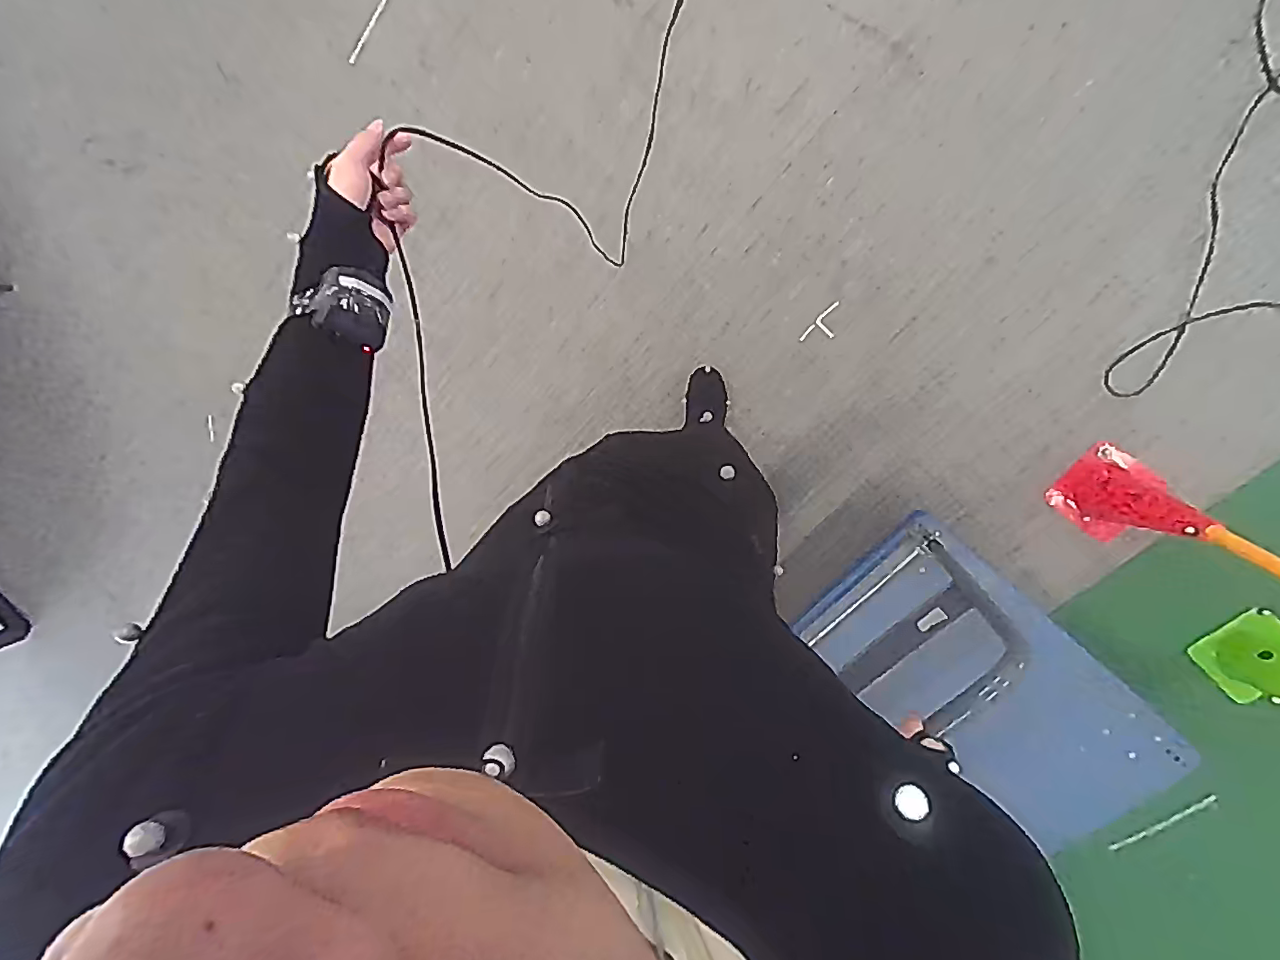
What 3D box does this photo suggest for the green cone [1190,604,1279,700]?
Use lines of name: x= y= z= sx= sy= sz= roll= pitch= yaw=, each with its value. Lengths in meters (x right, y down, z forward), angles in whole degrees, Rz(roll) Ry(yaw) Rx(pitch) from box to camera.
green cone: x=1.483 y=0.462 z=1.178 sx=0.202 sy=0.368 sz=0.200 roll=45 pitch=107 yaw=0
